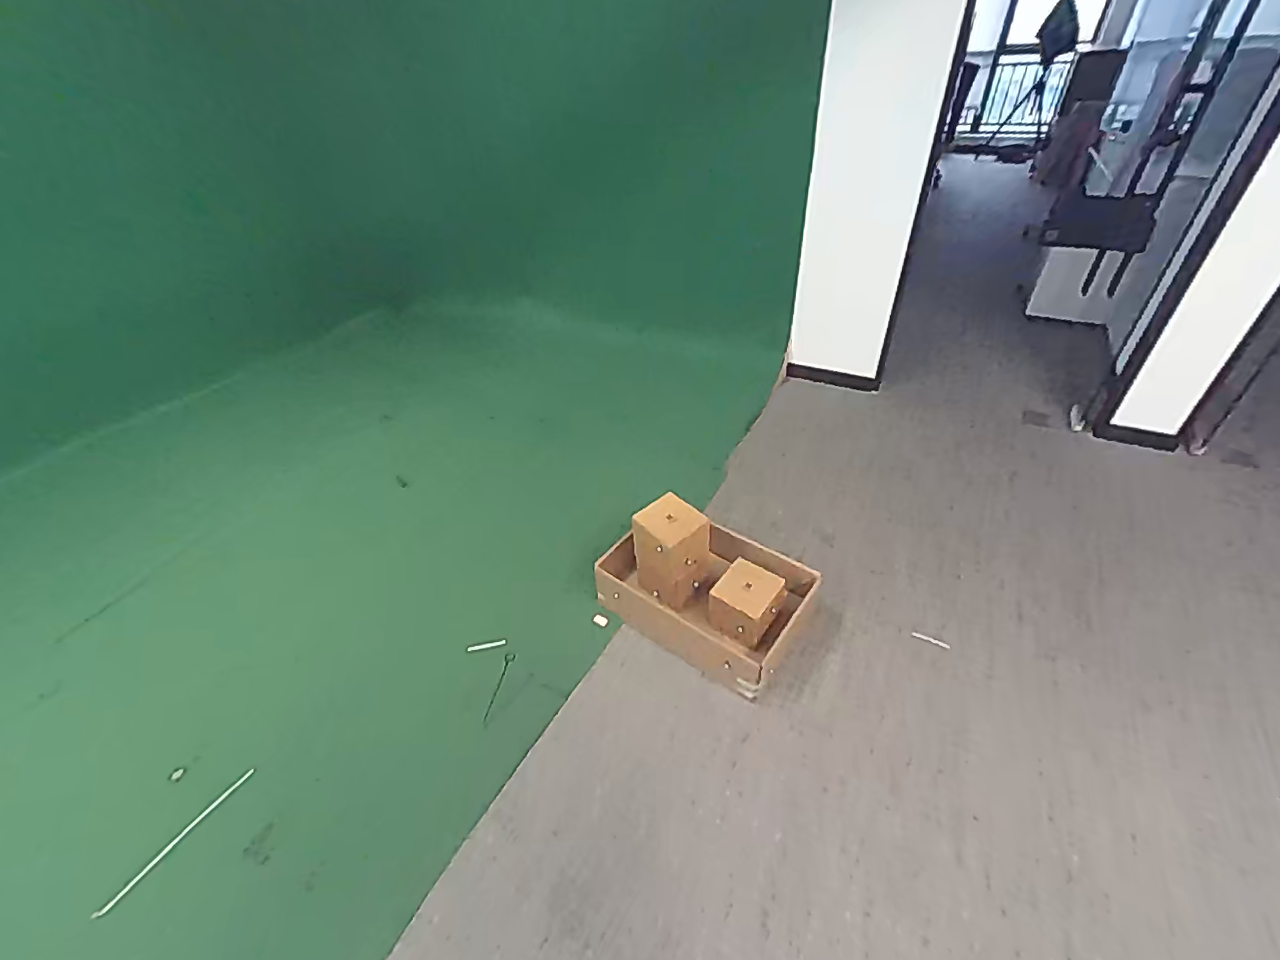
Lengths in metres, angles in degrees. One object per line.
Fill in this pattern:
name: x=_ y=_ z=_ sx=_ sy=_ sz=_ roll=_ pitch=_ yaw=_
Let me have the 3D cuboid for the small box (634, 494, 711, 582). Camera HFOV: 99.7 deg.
small box: x=0.100 y=0.181 z=1.670 sx=0.168 sy=0.176 sz=0.179 roll=-32 pitch=48 yaw=-28
